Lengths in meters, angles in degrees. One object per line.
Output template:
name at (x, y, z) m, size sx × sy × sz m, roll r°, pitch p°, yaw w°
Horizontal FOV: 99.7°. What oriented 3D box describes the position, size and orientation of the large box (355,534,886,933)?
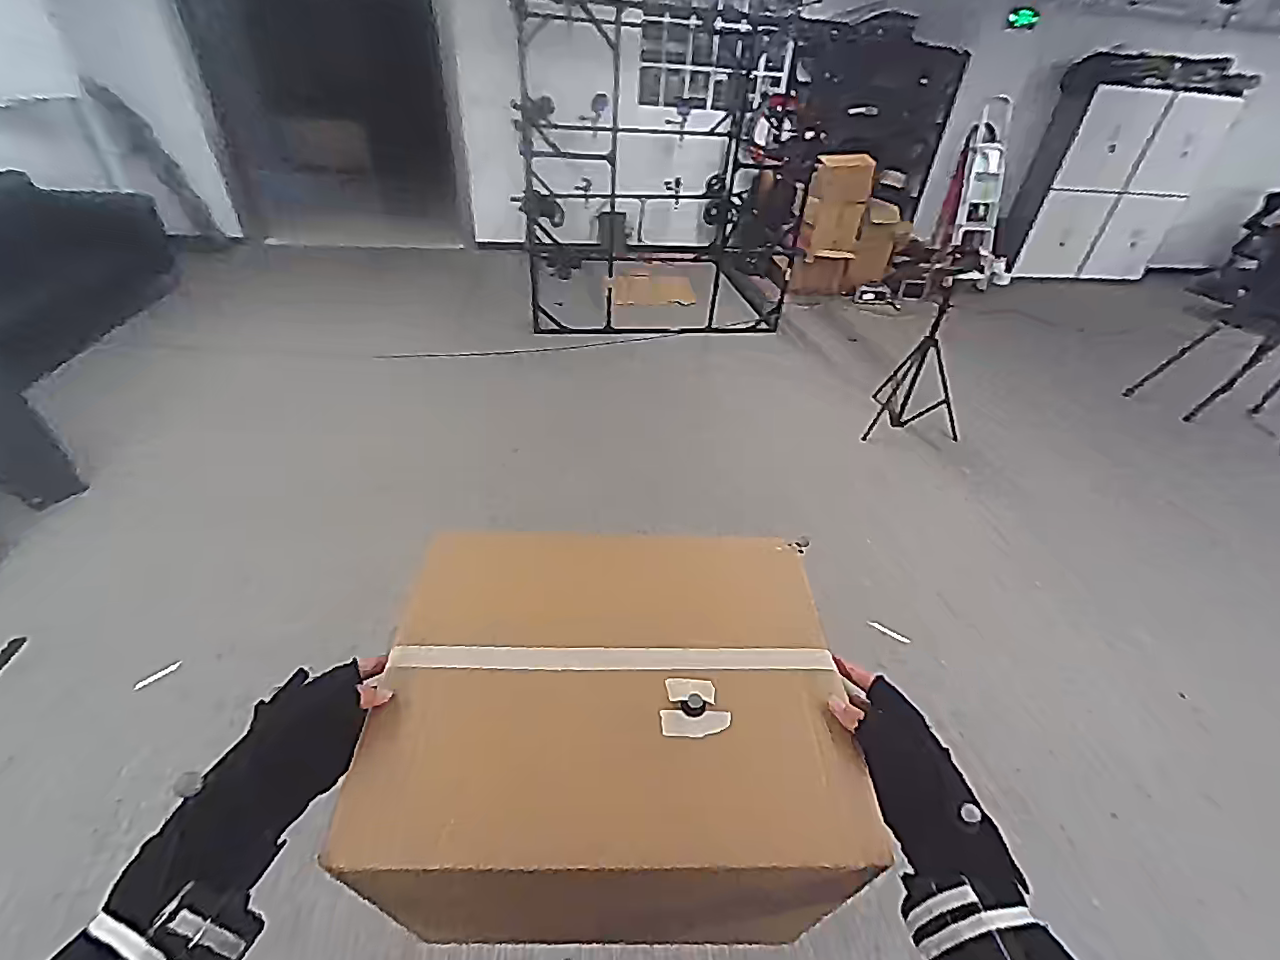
large box at (-0.022, 0.279, 0.605) m, size 0.408 × 0.320 × 0.320 m, roll 2°, pitch 43°, yaw -2°
